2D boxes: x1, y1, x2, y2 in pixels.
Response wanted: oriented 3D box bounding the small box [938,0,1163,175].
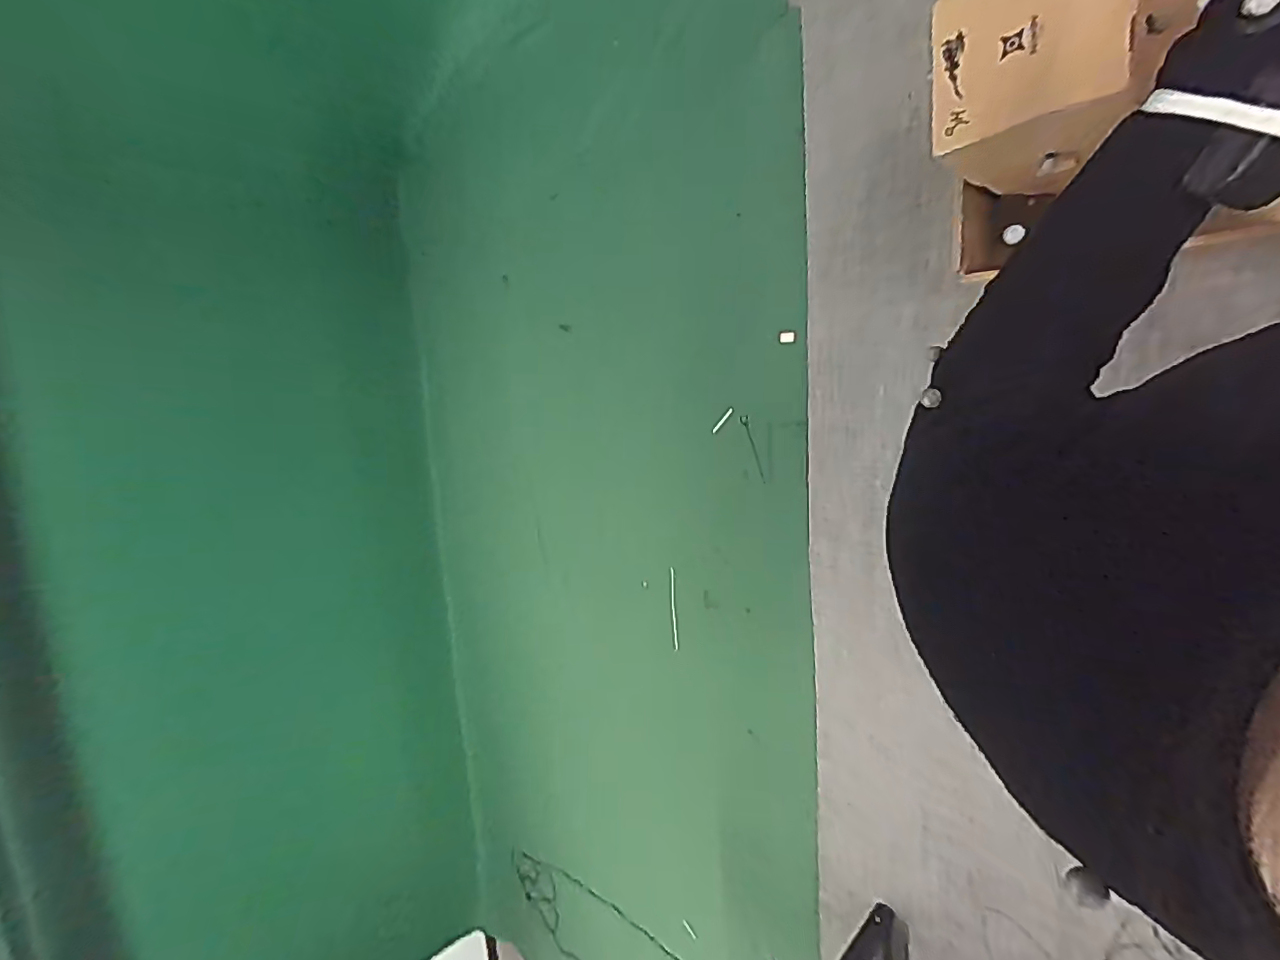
[{"bbox_3d":[0.460,-0.472,0.608,0.179,0.176,0.168,6,103,48],"label":"small box"}]
